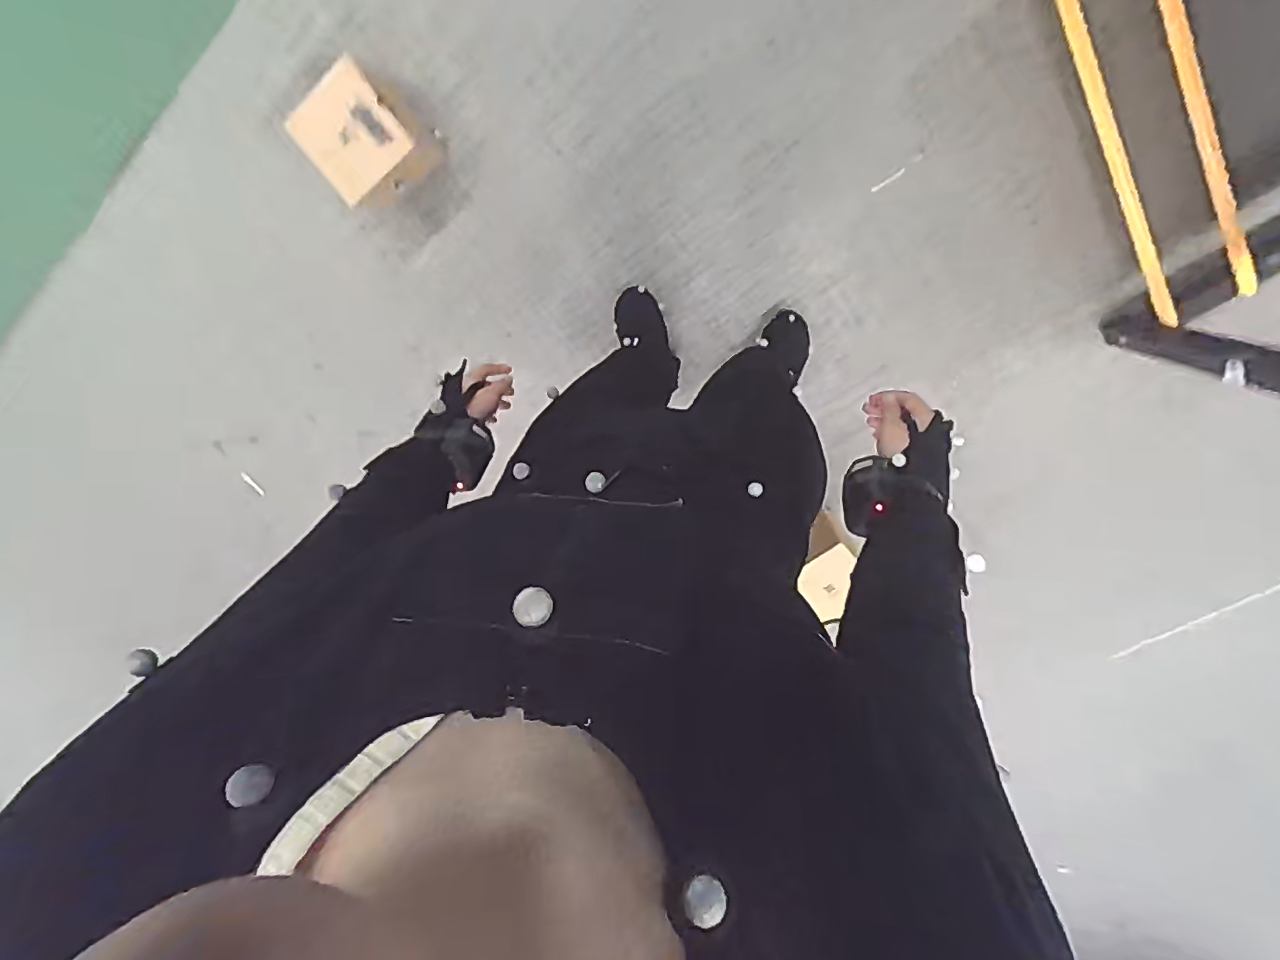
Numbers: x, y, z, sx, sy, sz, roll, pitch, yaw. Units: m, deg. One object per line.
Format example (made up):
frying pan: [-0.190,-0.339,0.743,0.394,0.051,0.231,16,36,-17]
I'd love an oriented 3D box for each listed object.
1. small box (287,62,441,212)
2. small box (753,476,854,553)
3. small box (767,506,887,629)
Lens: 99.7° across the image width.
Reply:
small box: [-0.508,-0.640,1.030,0.179,0.176,0.168,-31,110,18]
small box: [0.406,0.119,1.359,0.179,0.176,0.168,-39,108,19]
small box: [0.410,0.189,1.210,0.168,0.176,0.179,-40,107,19]
